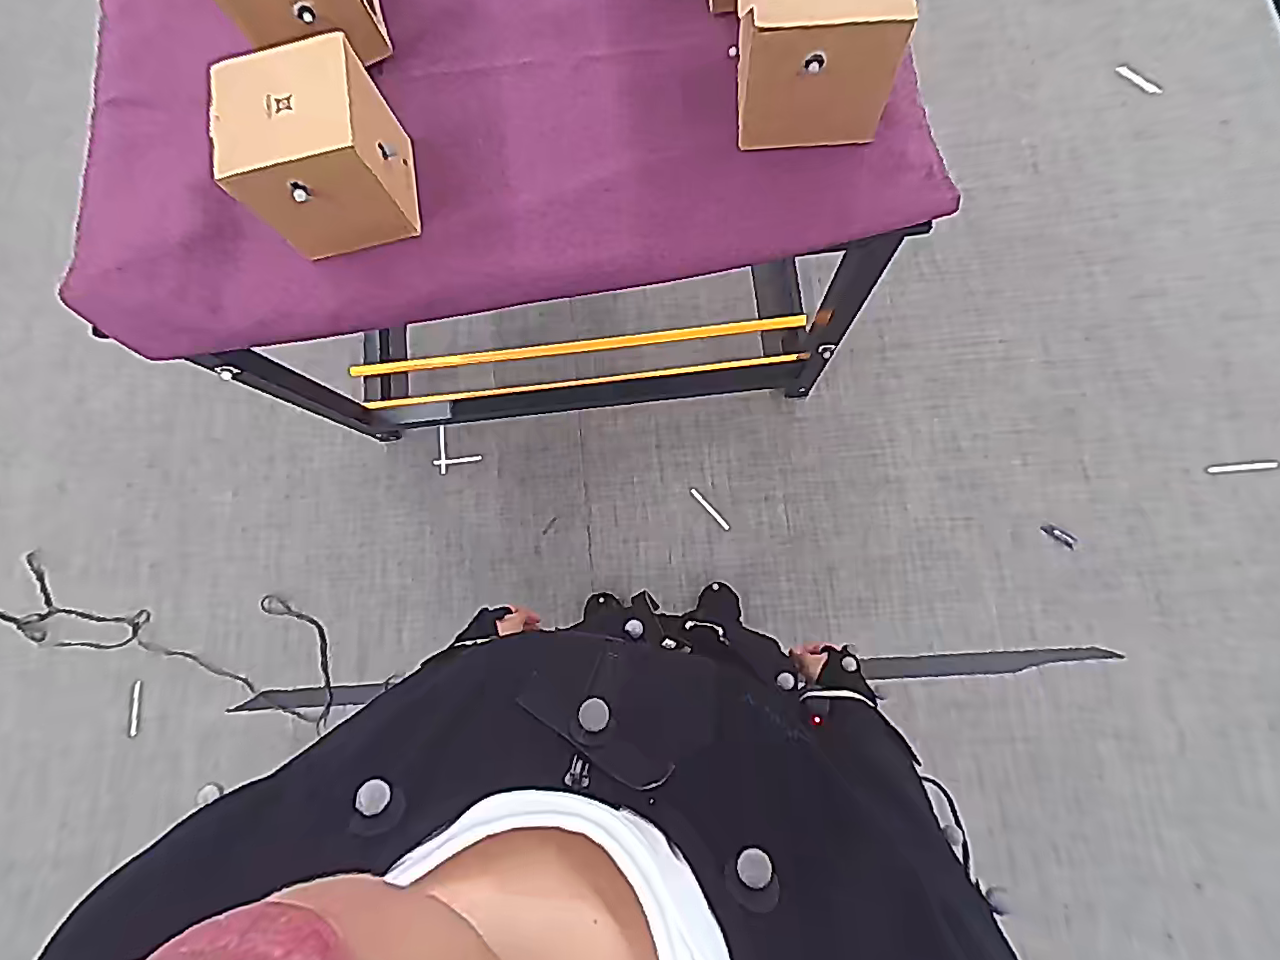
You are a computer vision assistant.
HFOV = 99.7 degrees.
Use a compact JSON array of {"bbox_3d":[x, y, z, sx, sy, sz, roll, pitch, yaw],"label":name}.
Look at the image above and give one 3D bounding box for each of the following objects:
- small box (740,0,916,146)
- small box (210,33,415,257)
[{"bbox_3d":[0.216,-0.549,0.673,0.179,0.176,0.168,0,79,5],"label":"small box"},{"bbox_3d":[-0.416,-0.427,0.716,0.179,0.176,0.168,-11,79,4],"label":"small box"}]
